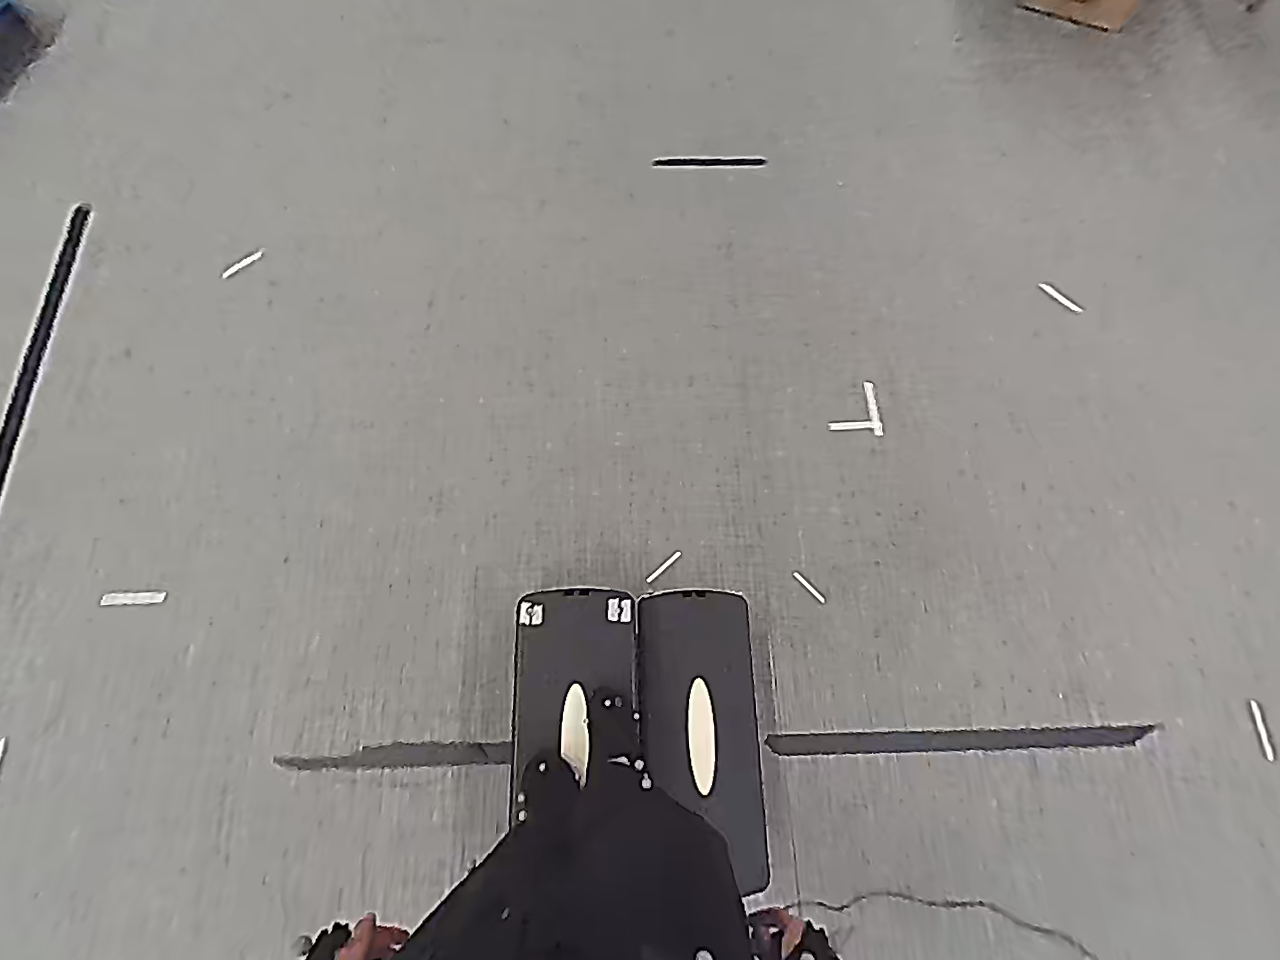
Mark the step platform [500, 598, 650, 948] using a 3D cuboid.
[{"bbox_3d":[-0.131,0.619,1.230,0.286,0.204,0.684,3,70,-2],"label":"step platform"}]
